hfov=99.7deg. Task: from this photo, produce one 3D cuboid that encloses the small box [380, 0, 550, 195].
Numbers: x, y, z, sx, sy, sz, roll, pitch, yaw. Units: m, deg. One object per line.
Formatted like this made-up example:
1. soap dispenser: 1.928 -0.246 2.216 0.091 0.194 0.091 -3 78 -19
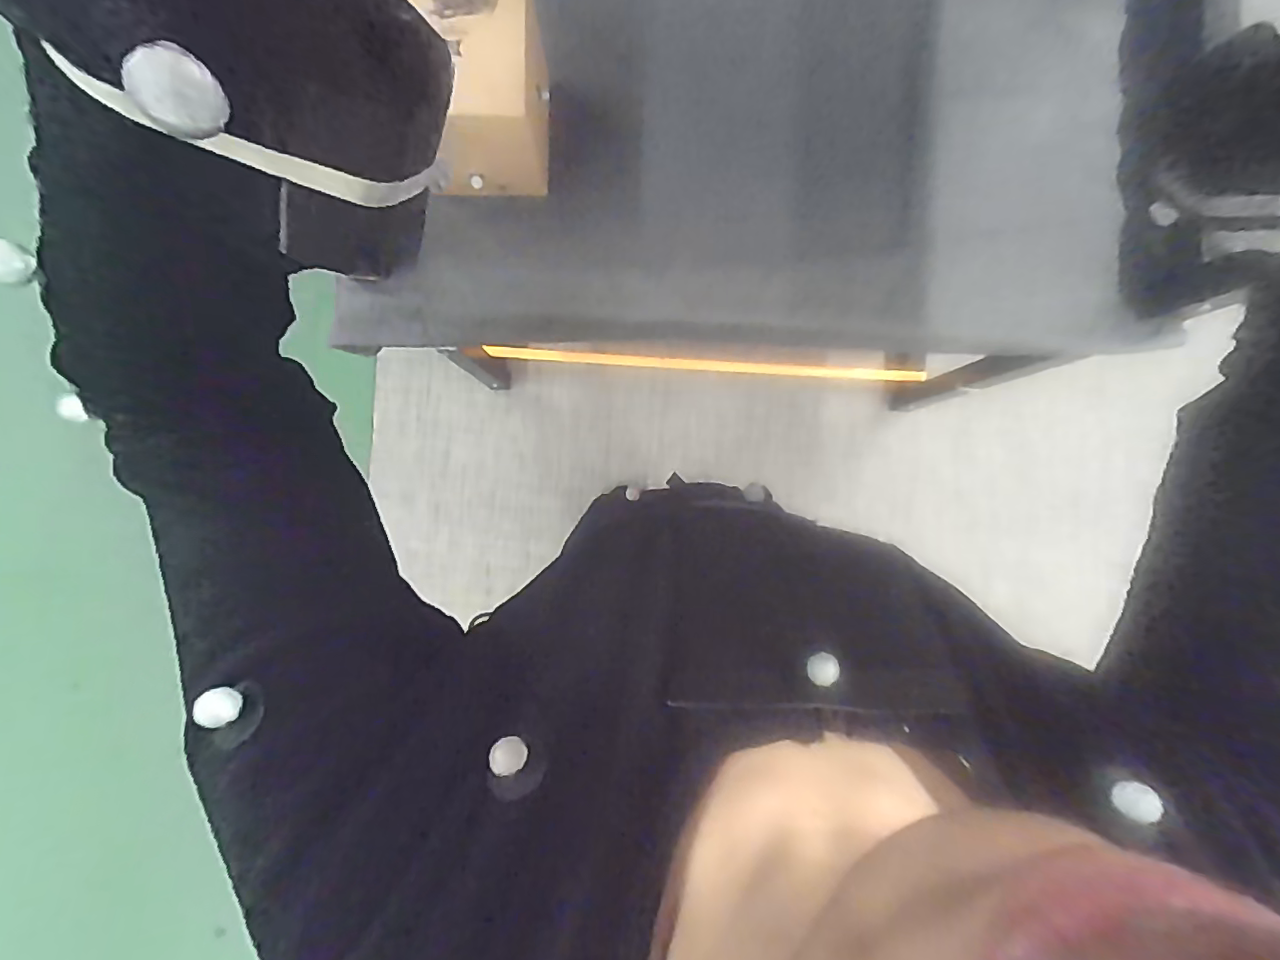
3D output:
1. small box: -0.212 -0.499 0.696 0.168 0.176 0.179 1 89 0
